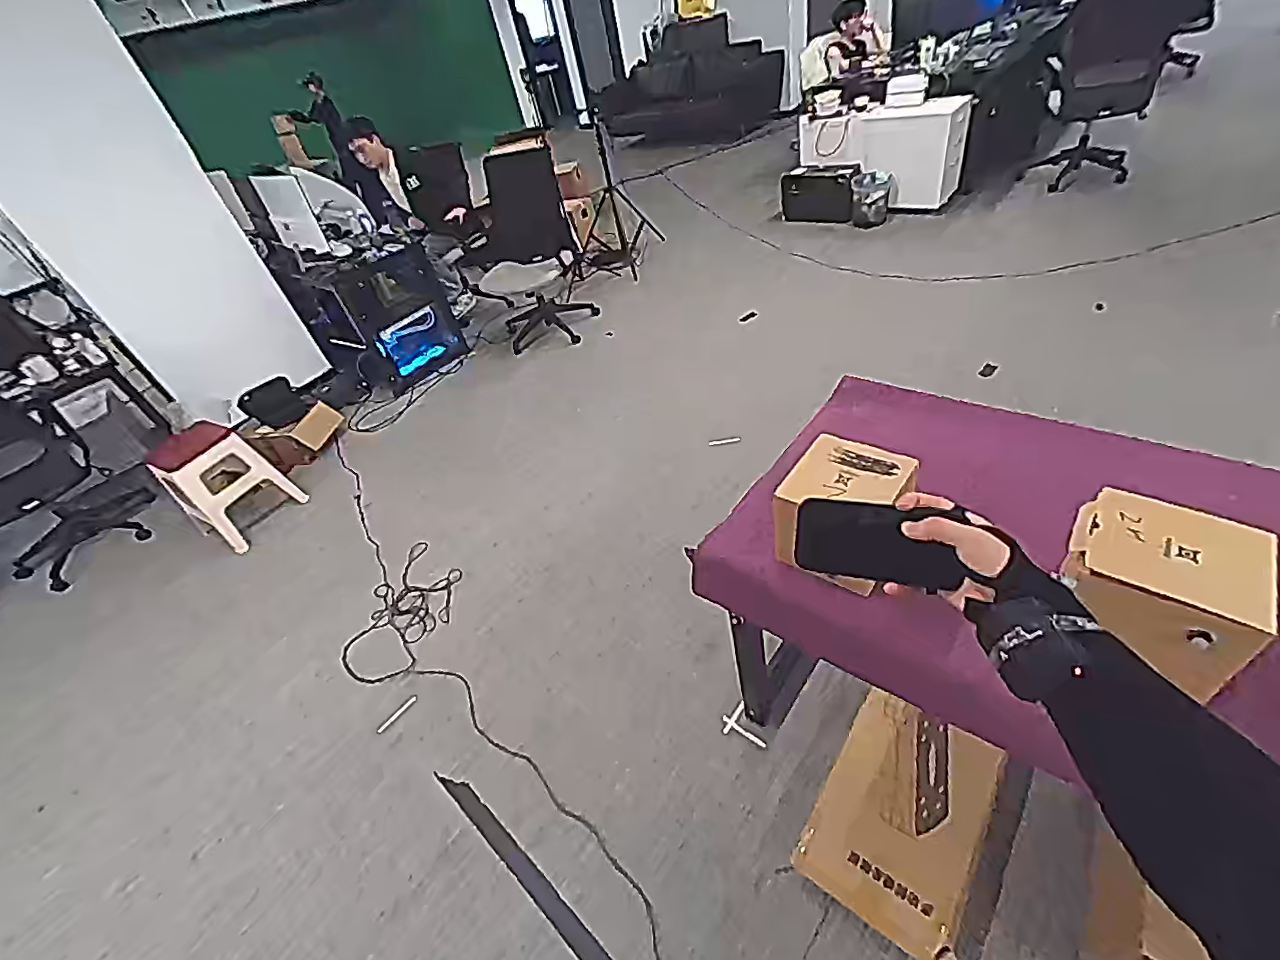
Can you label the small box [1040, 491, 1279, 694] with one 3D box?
[{"bbox_3d":[0.666,0.148,0.706,0.179,0.176,0.168,21,50,34],"label":"small box"}]
